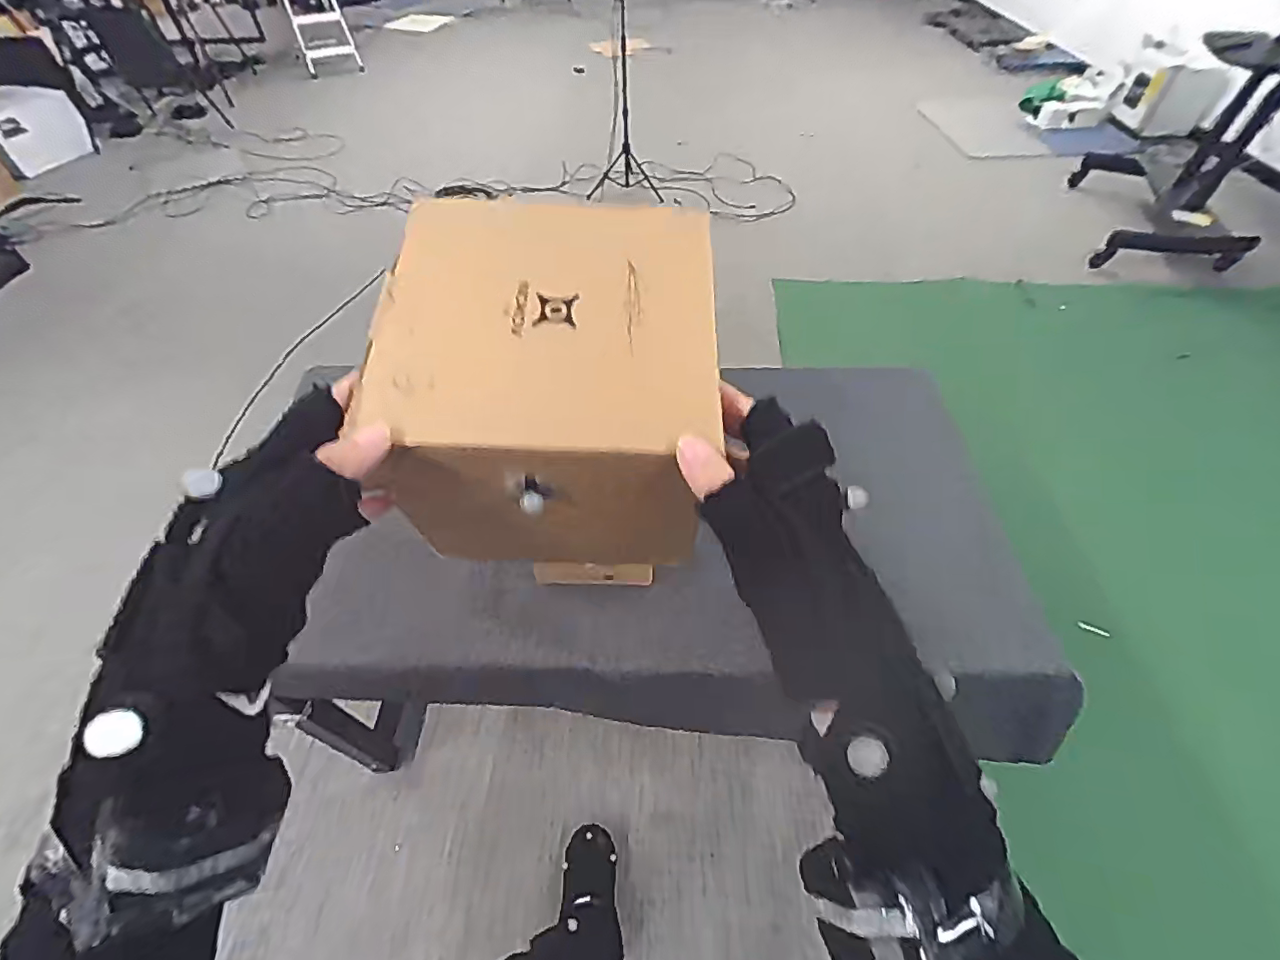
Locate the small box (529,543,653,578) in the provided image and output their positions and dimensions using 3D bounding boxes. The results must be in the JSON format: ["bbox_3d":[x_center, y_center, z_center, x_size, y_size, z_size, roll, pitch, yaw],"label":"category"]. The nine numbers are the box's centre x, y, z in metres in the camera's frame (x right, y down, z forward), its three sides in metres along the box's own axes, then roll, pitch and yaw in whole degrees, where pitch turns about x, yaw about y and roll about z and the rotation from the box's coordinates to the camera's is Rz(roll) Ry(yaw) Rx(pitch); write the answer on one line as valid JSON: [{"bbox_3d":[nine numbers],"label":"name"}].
[{"bbox_3d":[-0.065,0.027,0.767,0.168,0.176,0.179,-1,51,2],"label":"small box"}]

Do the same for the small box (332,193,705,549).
[{"bbox_3d":[-0.057,-0.058,0.355,0.179,0.176,0.168,1,64,-2],"label":"small box"}]
